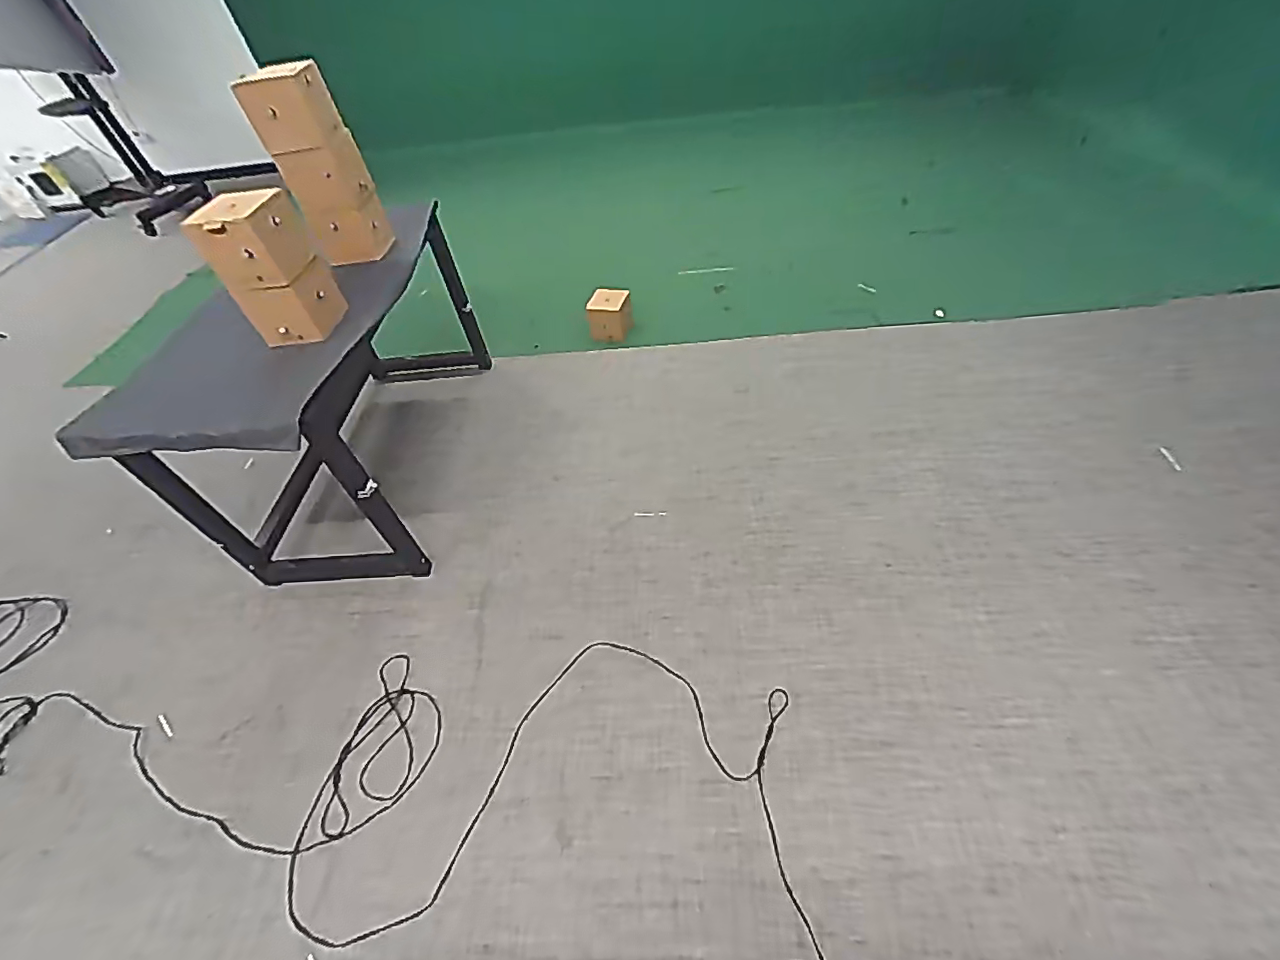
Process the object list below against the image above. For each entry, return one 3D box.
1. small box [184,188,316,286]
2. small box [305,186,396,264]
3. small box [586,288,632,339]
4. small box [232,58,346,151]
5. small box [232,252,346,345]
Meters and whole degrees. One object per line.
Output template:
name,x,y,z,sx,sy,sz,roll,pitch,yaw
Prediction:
small box,-0.942,-0.590,1.328,0.168,0.176,0.179,-2,48,6
small box,-0.923,-0.821,1.745,0.179,0.176,0.168,-4,49,5
small box,-0.141,-0.794,2.589,0.168,0.176,0.179,10,51,15
small box,-0.961,-1.034,1.497,0.179,0.176,0.168,-7,49,4
small box,-0.927,-0.486,1.452,0.168,0.176,0.179,-4,49,6
